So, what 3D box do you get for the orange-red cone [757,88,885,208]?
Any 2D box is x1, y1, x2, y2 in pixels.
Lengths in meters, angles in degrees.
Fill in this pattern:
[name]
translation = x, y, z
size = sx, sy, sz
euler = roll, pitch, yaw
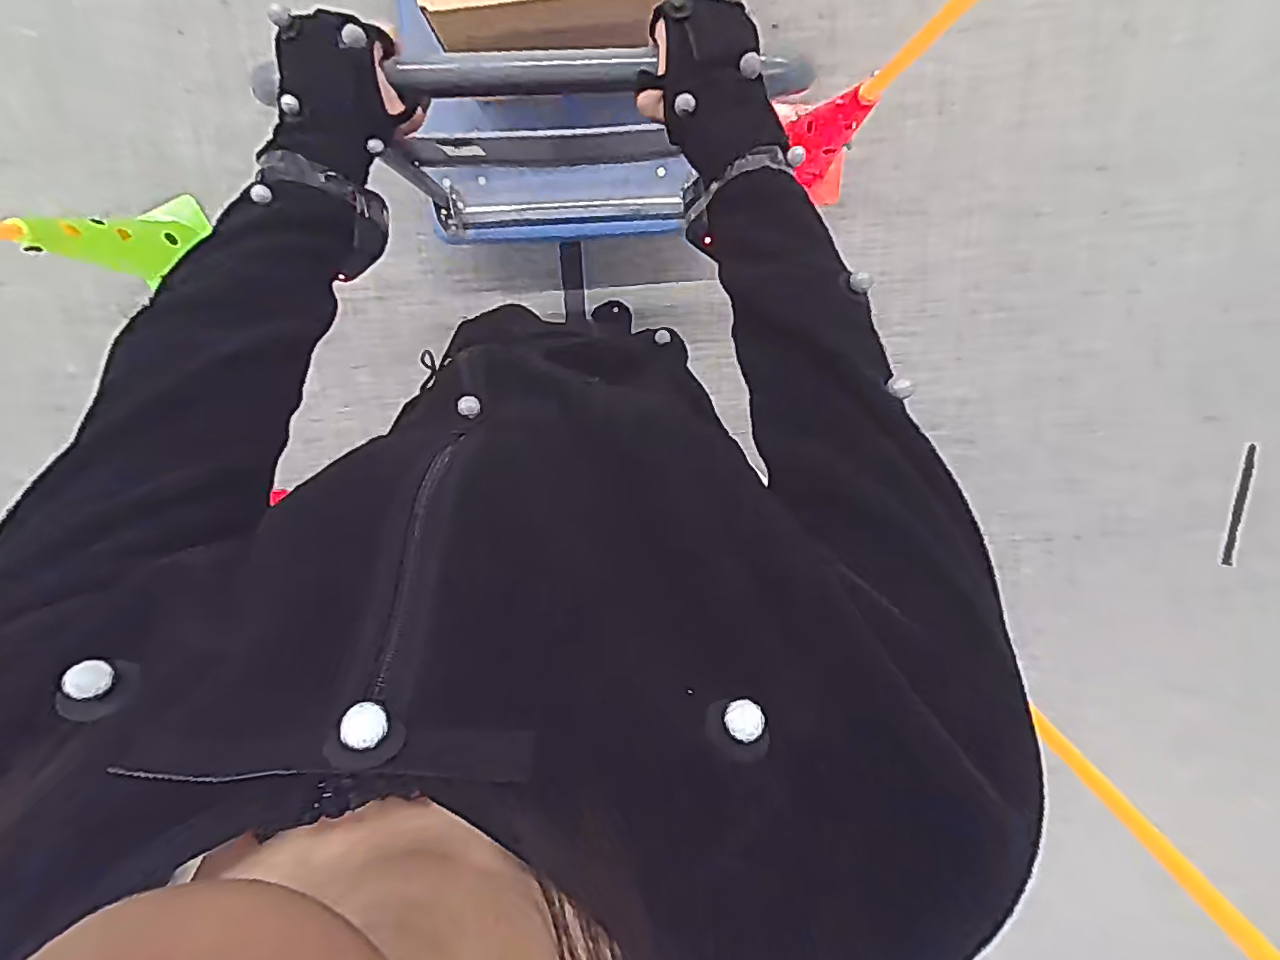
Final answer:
[orange-red cone]
translation = 0.383, -0.684, 1.068
size = 0.199, 0.360, 0.198
euler = 2, 107, -5
